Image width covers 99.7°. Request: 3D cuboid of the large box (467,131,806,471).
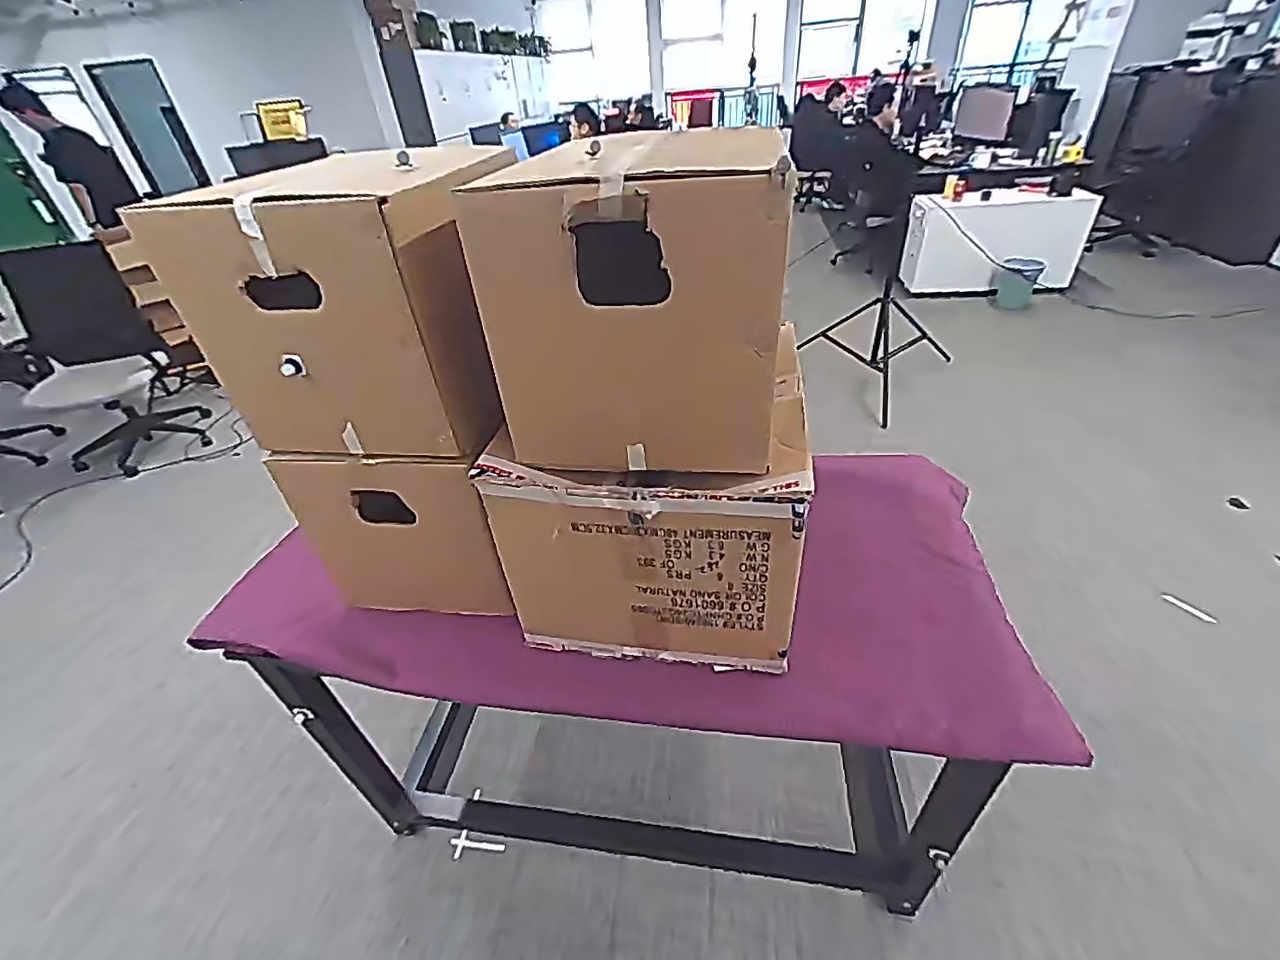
[{"bbox_3d":[0.025,-0.253,0.717,0.320,0.320,0.408,1,37,10],"label":"large box"}]
